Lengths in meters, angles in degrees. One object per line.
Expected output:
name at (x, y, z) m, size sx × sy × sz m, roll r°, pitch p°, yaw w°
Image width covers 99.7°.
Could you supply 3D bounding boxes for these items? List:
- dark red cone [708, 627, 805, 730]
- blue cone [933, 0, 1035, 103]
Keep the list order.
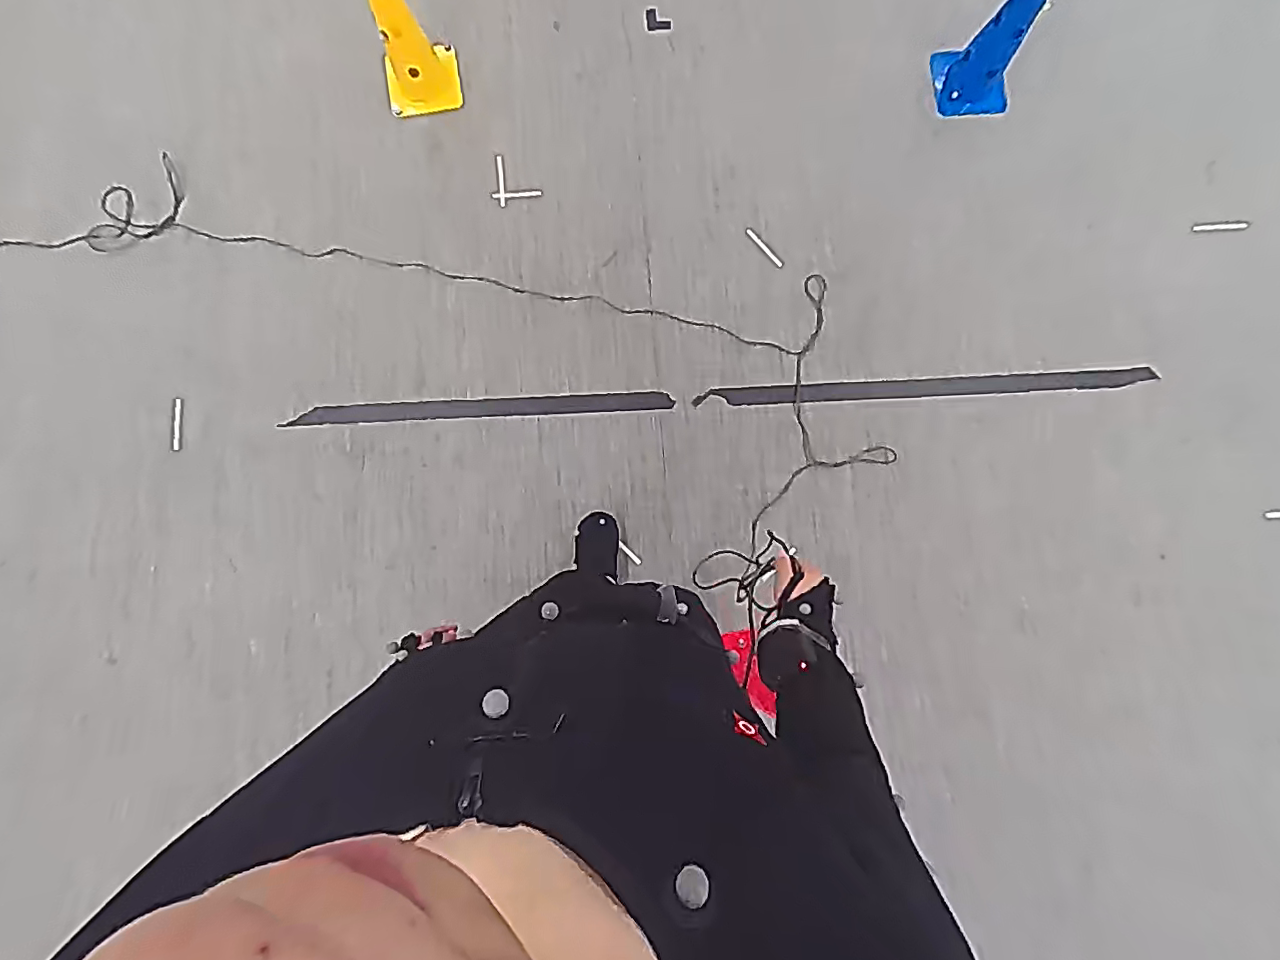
dark red cone at (0.276, 0.446, 1.141) m, size 0.202 × 0.394 × 0.201 m, roll -11°, pitch 82°, yaw -2°
blue cone at (0.931, -1.173, 1.363) m, size 0.193 × 0.380 × 0.192 m, roll -3°, pitch 82°, yaw -1°
